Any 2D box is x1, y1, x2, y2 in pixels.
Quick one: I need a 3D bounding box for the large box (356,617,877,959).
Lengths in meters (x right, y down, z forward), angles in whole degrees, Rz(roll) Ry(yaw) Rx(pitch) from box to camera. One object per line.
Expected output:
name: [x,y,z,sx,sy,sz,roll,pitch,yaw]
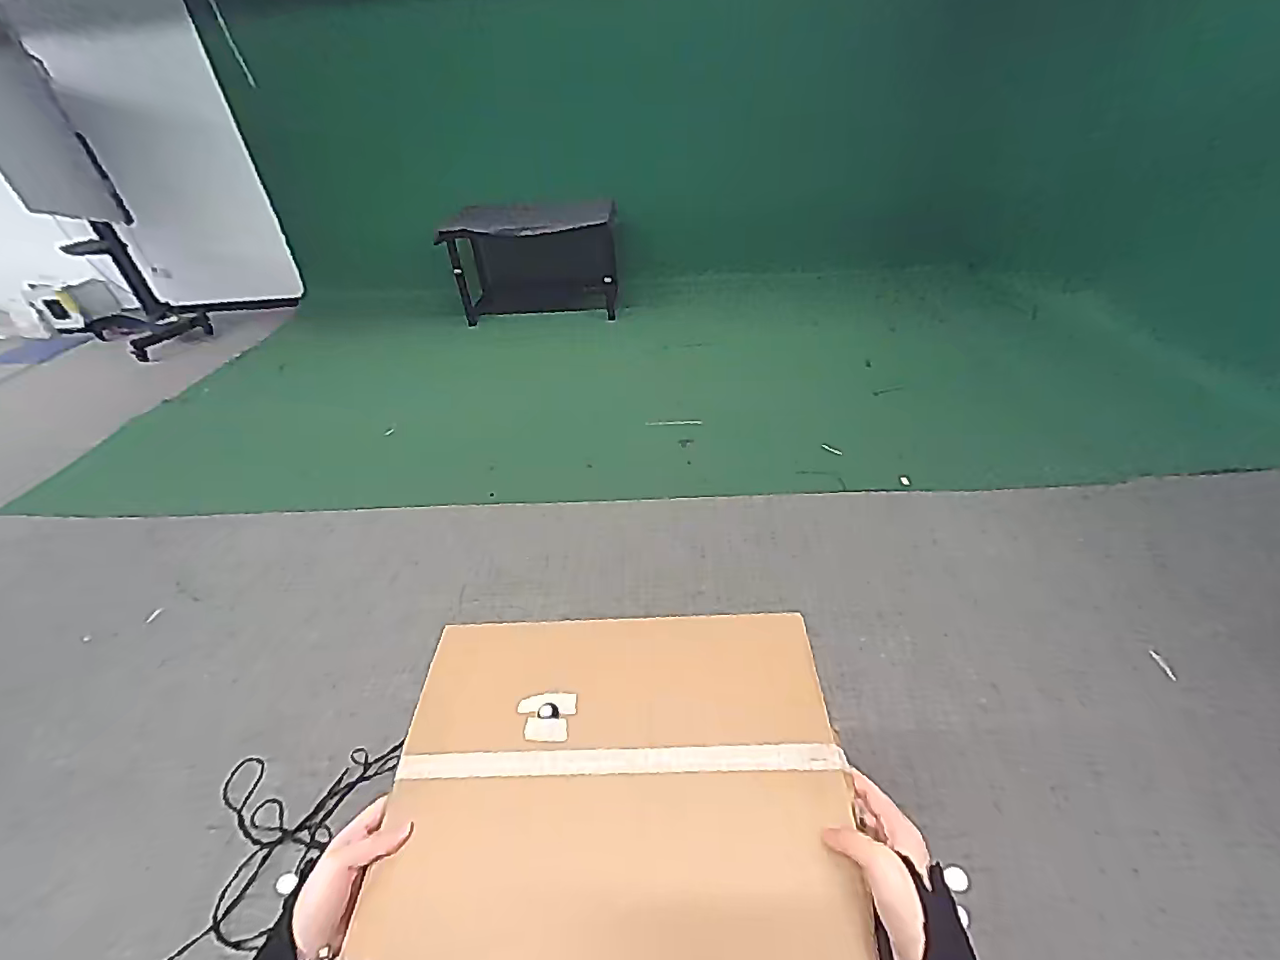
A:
large box: [-0.008,0.382,0.603,0.408,0.320,0.320,-5,40,5]
